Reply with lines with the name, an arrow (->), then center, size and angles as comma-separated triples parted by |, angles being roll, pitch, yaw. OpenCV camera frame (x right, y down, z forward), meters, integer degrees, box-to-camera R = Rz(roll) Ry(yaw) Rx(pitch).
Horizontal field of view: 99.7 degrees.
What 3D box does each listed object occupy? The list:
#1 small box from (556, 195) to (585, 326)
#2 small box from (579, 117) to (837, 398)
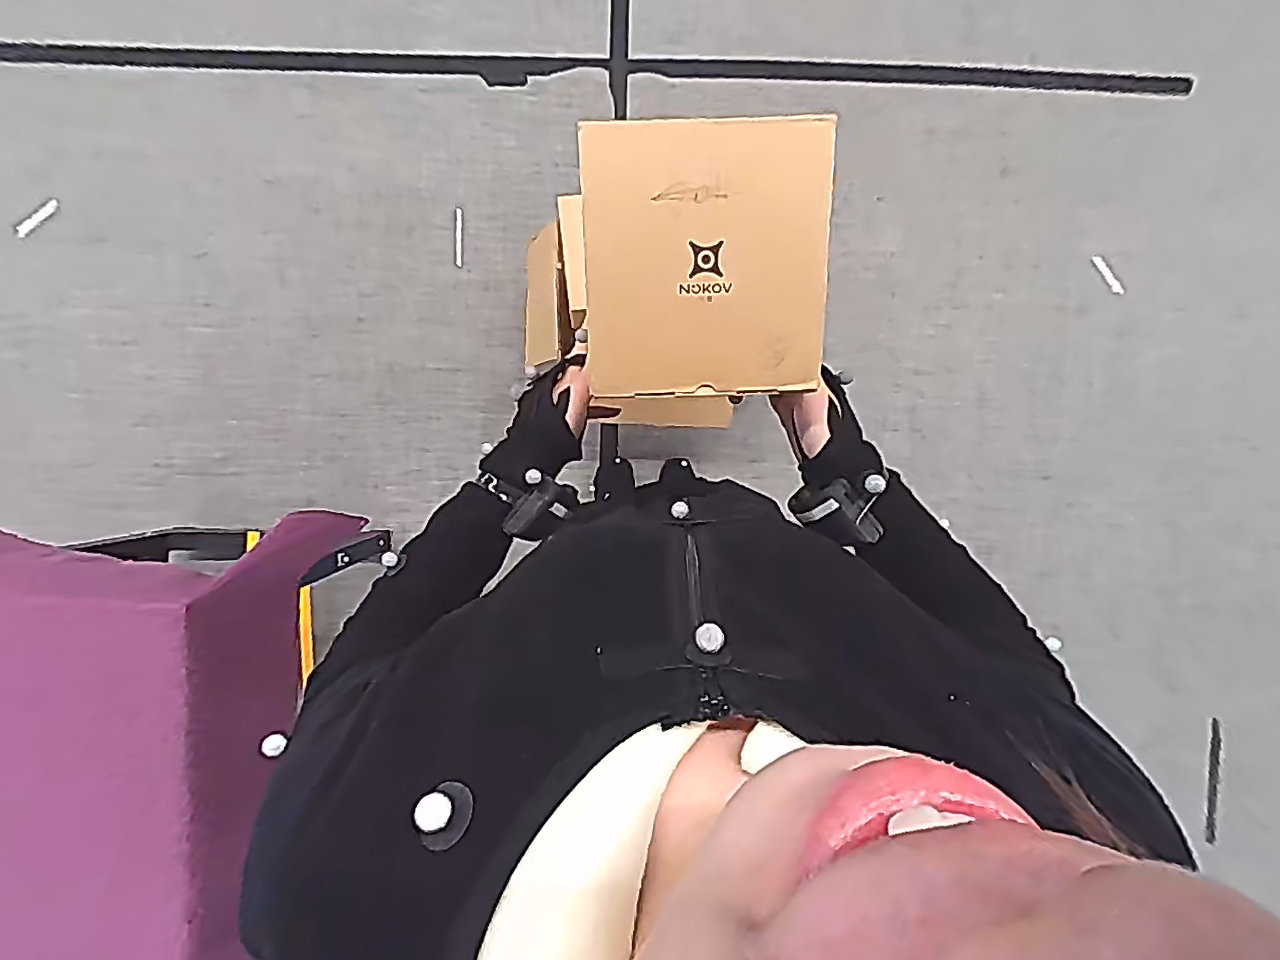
small box -> -0.037, -0.354, 0.890 | 0.179, 0.176, 0.168 | -7, 98, -5
small box -> 0.043, -0.165, 0.439 | 0.168, 0.176, 0.179 | -2, 105, -1
